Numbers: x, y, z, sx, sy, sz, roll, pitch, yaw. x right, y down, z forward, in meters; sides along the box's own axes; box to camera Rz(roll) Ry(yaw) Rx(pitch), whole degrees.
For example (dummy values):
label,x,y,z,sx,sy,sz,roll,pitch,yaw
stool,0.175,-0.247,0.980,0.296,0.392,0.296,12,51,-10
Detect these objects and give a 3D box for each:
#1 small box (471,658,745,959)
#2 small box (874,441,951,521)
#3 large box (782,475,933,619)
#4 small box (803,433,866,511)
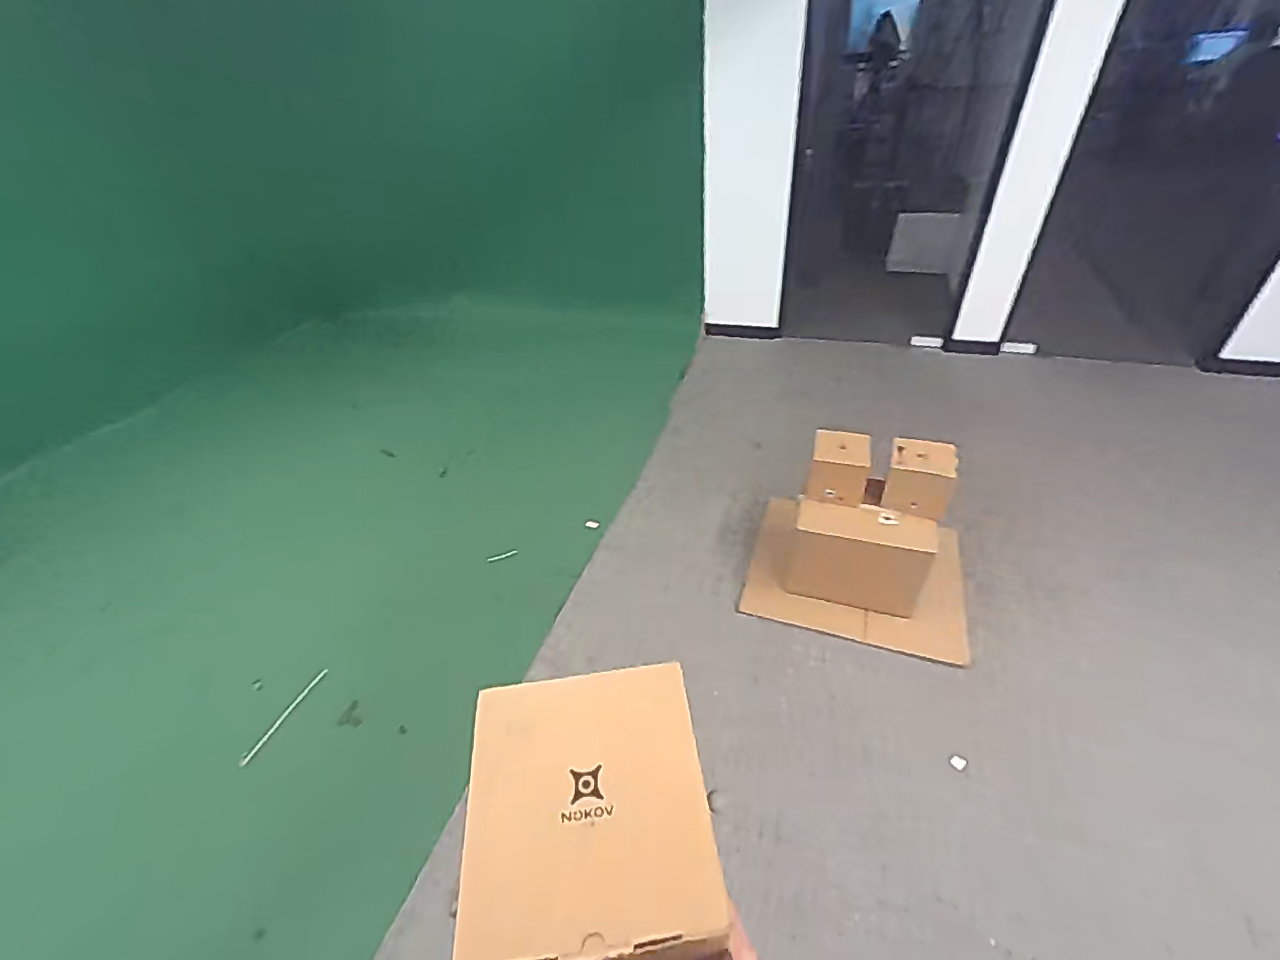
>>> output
label,x,y,z,sx,sy,sz,roll,pitch,yaw
small box,-0.025,0.271,0.432,0.168,0.176,0.179,-6,44,-4
small box,0.844,0.006,1.675,0.179,0.176,0.168,12,42,21
large box,0.710,0.219,1.817,0.408,0.320,0.320,10,41,16
small box,0.625,-0.027,1.745,0.168,0.176,0.179,7,40,15
